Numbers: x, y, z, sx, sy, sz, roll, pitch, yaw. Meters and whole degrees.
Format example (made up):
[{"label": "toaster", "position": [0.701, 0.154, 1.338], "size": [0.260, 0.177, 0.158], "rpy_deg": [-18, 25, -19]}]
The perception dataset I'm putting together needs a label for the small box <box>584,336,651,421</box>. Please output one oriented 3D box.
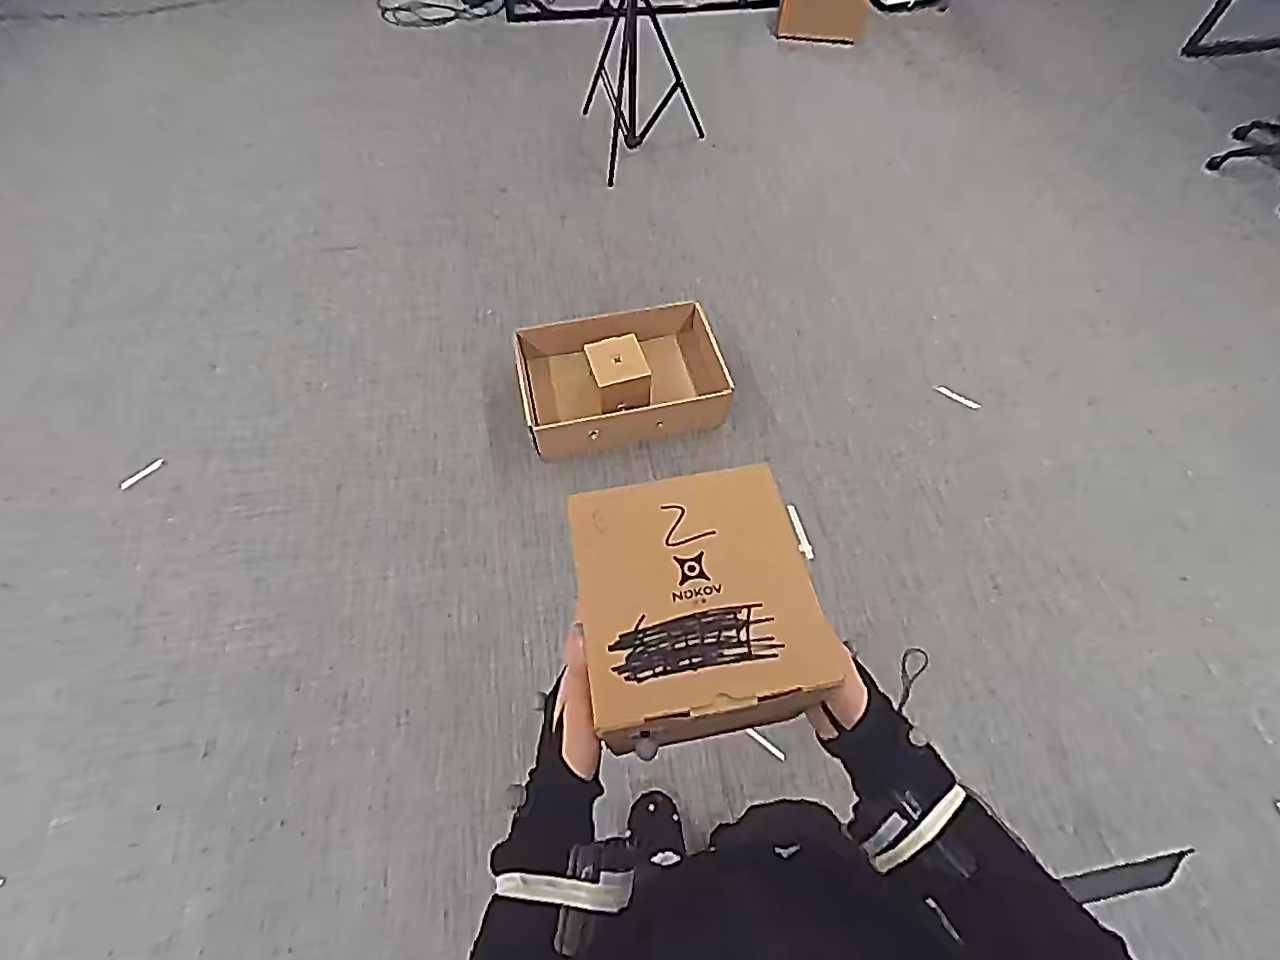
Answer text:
[{"label": "small box", "position": [-0.073, -0.316, 1.698], "size": [0.168, 0.176, 0.179], "rpy_deg": [-17, 63, -10]}]
